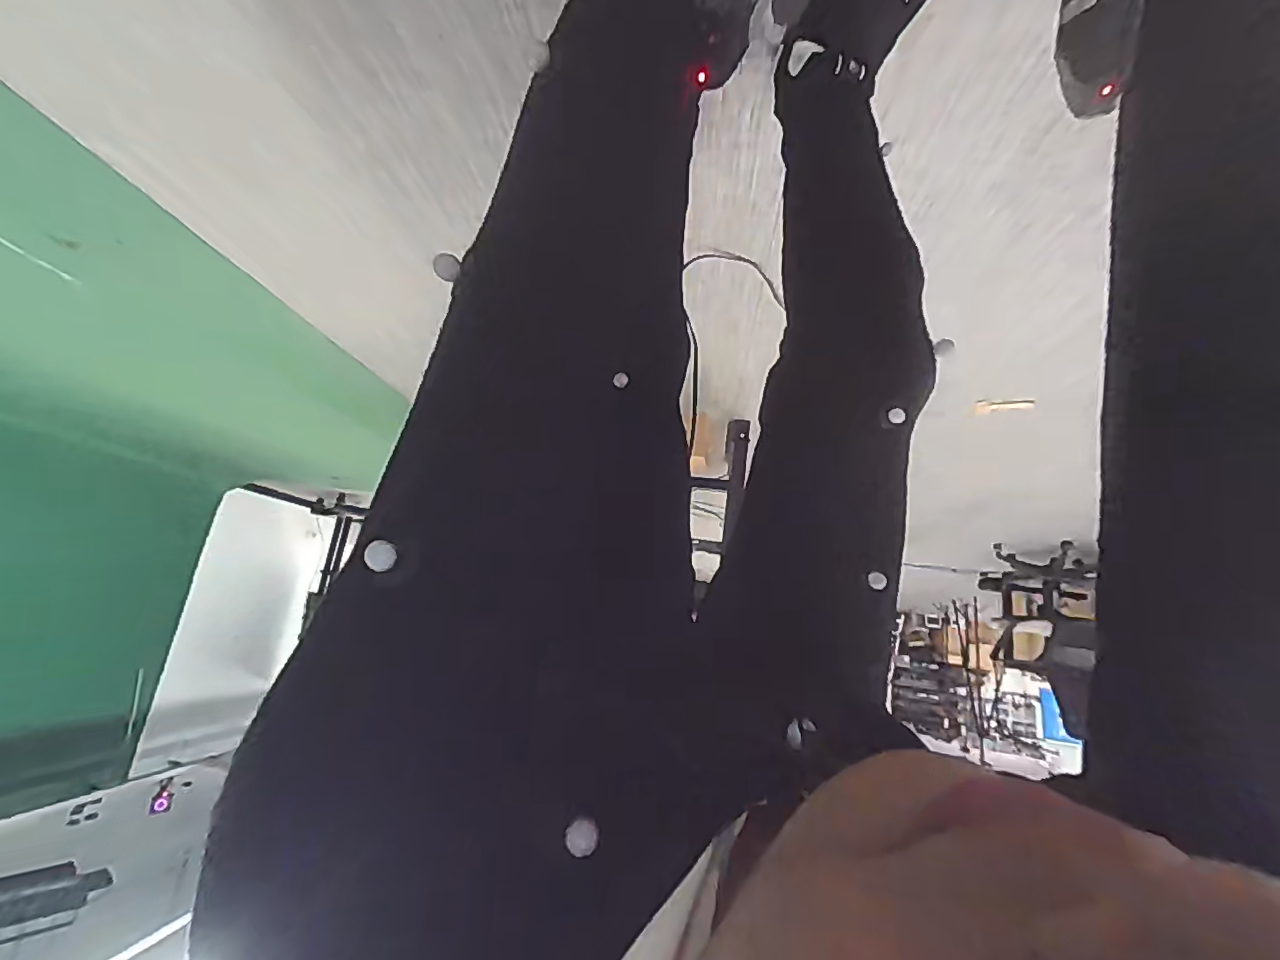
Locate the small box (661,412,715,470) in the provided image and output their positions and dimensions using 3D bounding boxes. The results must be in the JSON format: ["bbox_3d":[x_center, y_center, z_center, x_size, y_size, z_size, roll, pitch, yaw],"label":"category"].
[{"bbox_3d":[0.182,-0.144,2.006,0.168,0.176,0.179,4,166,15],"label":"small box"}]
